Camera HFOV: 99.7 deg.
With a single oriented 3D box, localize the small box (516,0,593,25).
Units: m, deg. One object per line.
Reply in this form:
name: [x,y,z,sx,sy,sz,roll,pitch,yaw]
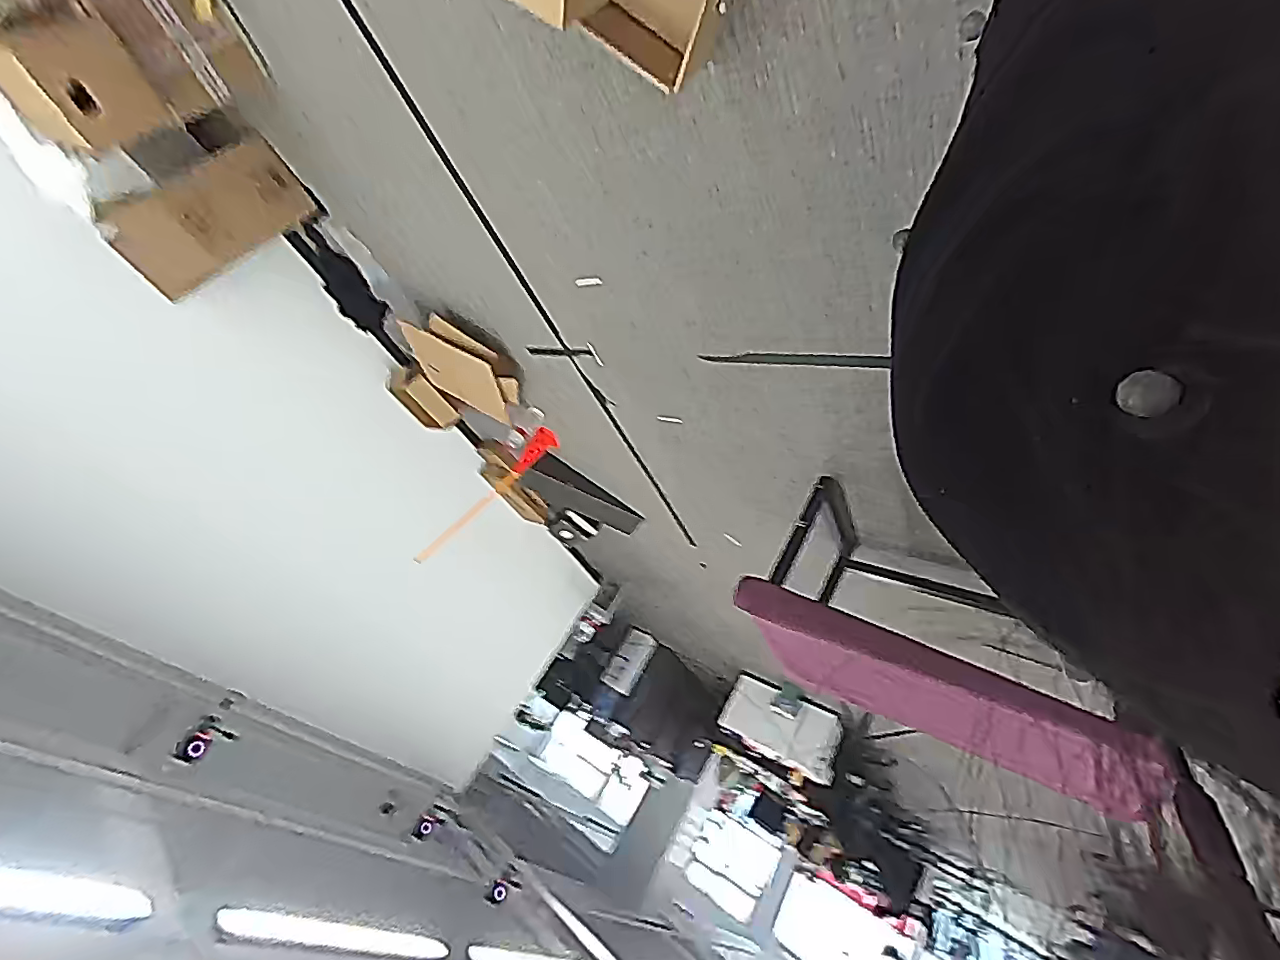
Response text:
small box: [-0.151,-0.930,0.910,0.179,0.176,0.168,33,154,3]
